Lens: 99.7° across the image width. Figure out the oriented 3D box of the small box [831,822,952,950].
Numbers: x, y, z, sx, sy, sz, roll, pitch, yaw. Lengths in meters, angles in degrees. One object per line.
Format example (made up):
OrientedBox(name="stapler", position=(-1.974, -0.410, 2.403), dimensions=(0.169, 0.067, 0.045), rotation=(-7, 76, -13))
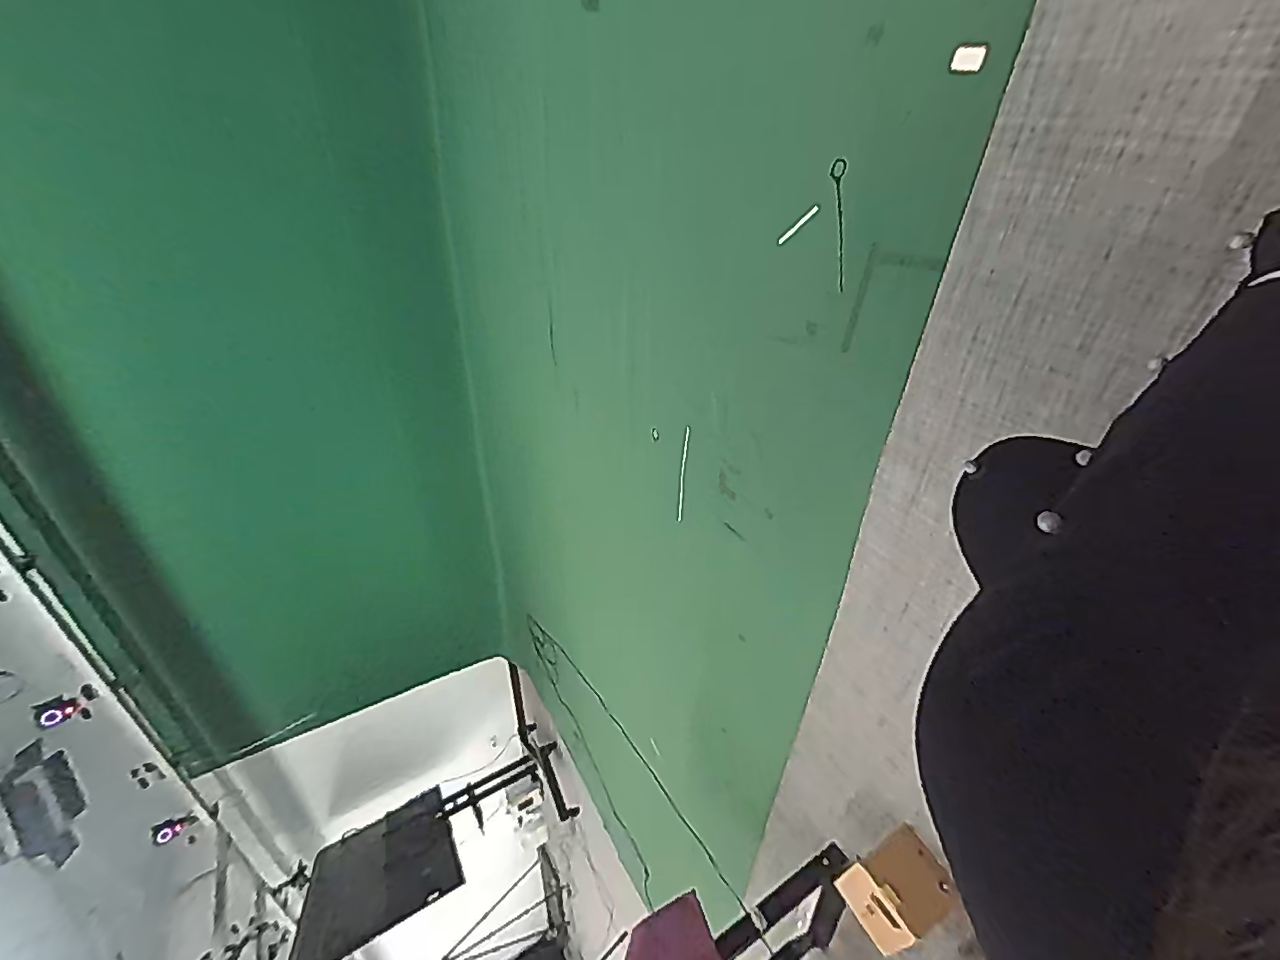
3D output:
OrientedBox(name="small box", position=(0.595, 0.953, 1.278), dimensions=(0.168, 0.176, 0.179), rotation=(50, 145, 39))
